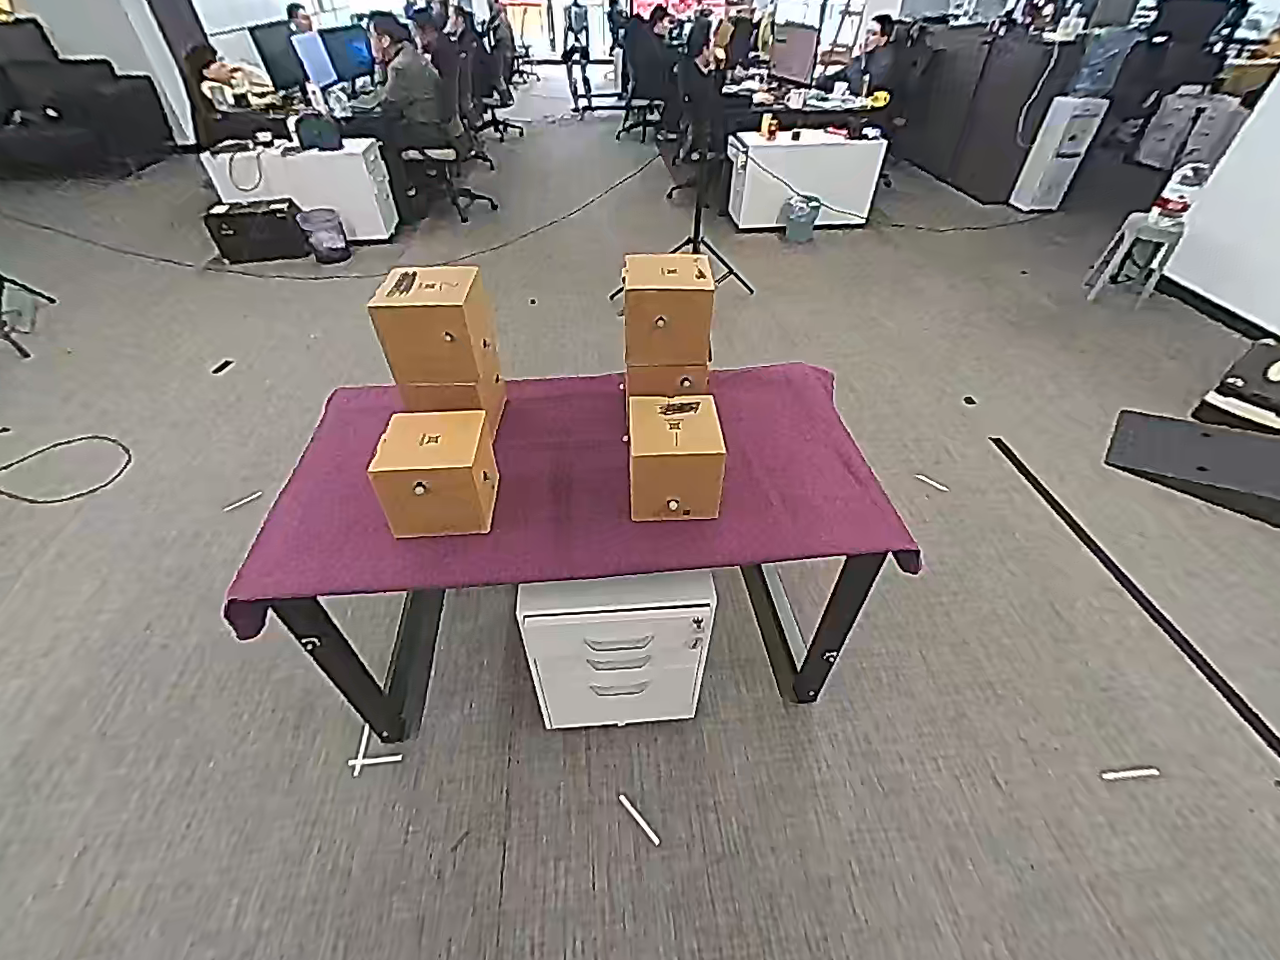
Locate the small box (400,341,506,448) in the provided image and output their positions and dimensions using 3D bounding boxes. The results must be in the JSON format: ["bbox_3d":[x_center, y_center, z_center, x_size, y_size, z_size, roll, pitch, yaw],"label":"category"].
[{"bbox_3d":[-0.404,-0.192,1.204,0.168,0.176,0.179,-1,46,1],"label":"small box"}]

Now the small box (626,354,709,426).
[{"bbox_3d":[0.057,-0.236,1.249,0.179,0.176,0.168,-1,44,-1],"label":"small box"}]

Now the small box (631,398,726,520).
[{"bbox_3d":[0.065,-0.041,1.042,0.168,0.176,0.179,-2,43,-1],"label":"small box"}]

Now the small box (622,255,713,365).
[{"bbox_3d":[0.055,-0.355,1.136,0.179,0.176,0.168,-1,45,0],"label":"small box"}]
